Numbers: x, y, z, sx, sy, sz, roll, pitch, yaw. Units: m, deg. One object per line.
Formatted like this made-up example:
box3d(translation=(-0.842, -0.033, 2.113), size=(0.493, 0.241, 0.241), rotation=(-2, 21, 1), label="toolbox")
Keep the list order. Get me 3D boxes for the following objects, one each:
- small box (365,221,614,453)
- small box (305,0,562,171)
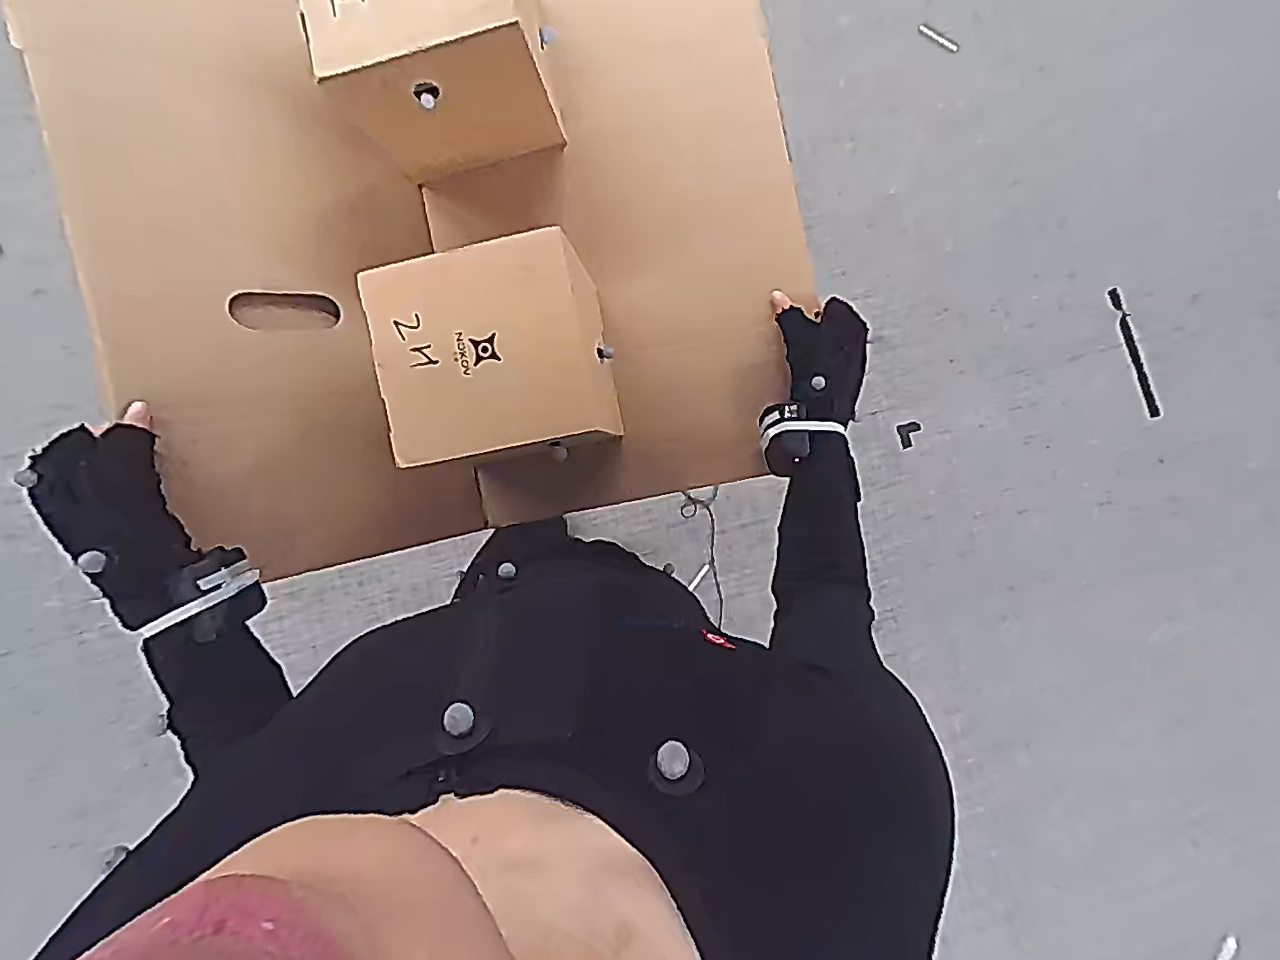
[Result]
box3d(translation=(-0.126, -0.122, 0.528), size=(0.179, 0.176, 0.168), rotation=(-10, 92, 6), label="small box")
box3d(translation=(-0.191, -0.433, 0.520), size=(0.179, 0.176, 0.168), rotation=(-12, 92, 5), label="small box")
